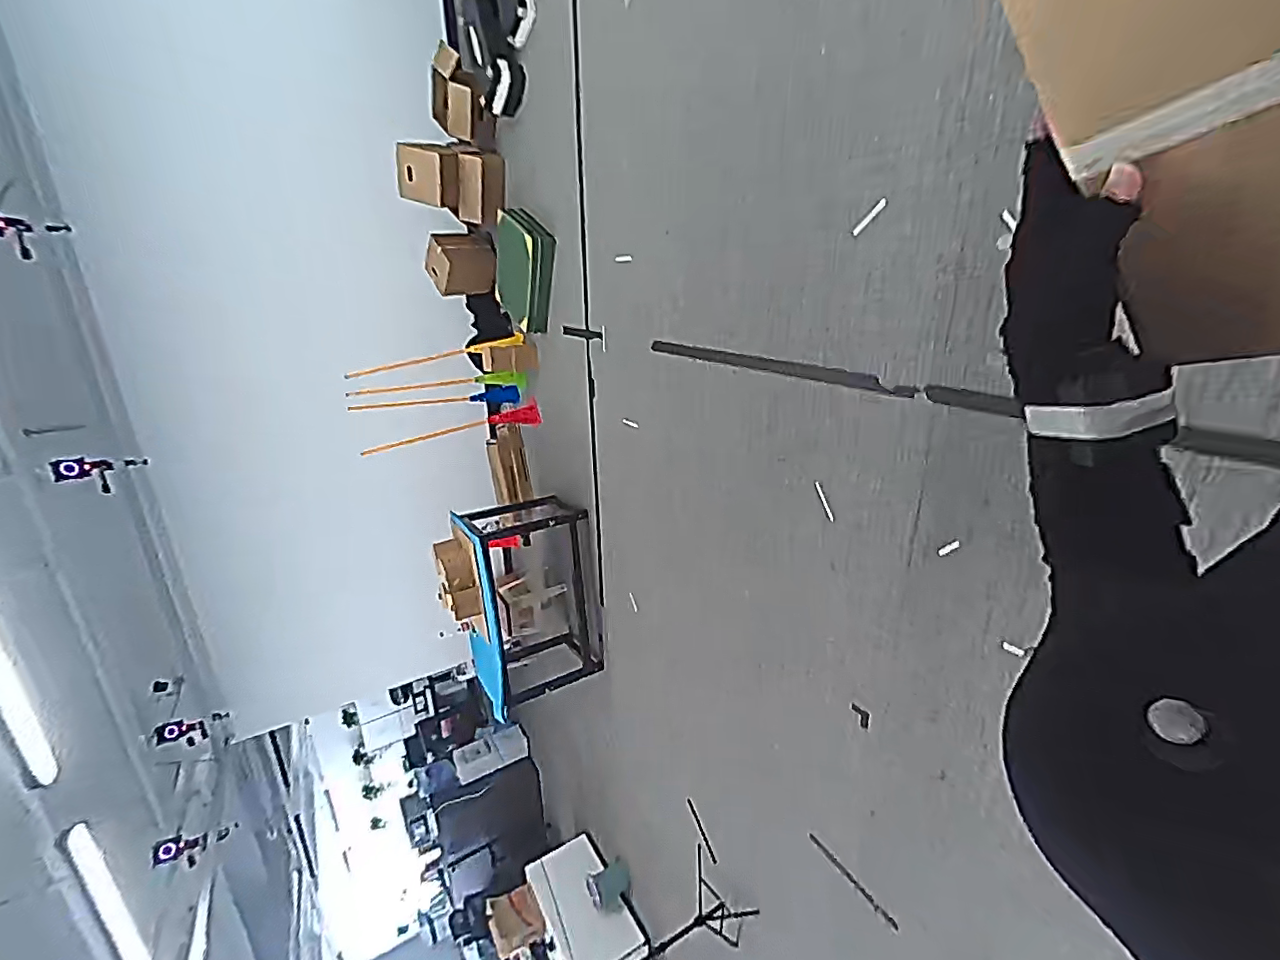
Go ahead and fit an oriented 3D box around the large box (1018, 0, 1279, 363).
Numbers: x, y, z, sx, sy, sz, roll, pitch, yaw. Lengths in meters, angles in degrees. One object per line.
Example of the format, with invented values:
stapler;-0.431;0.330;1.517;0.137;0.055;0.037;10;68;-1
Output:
large box;0.451;-0.286;0.192;0.320;0.320;0.408;48;163;-19
